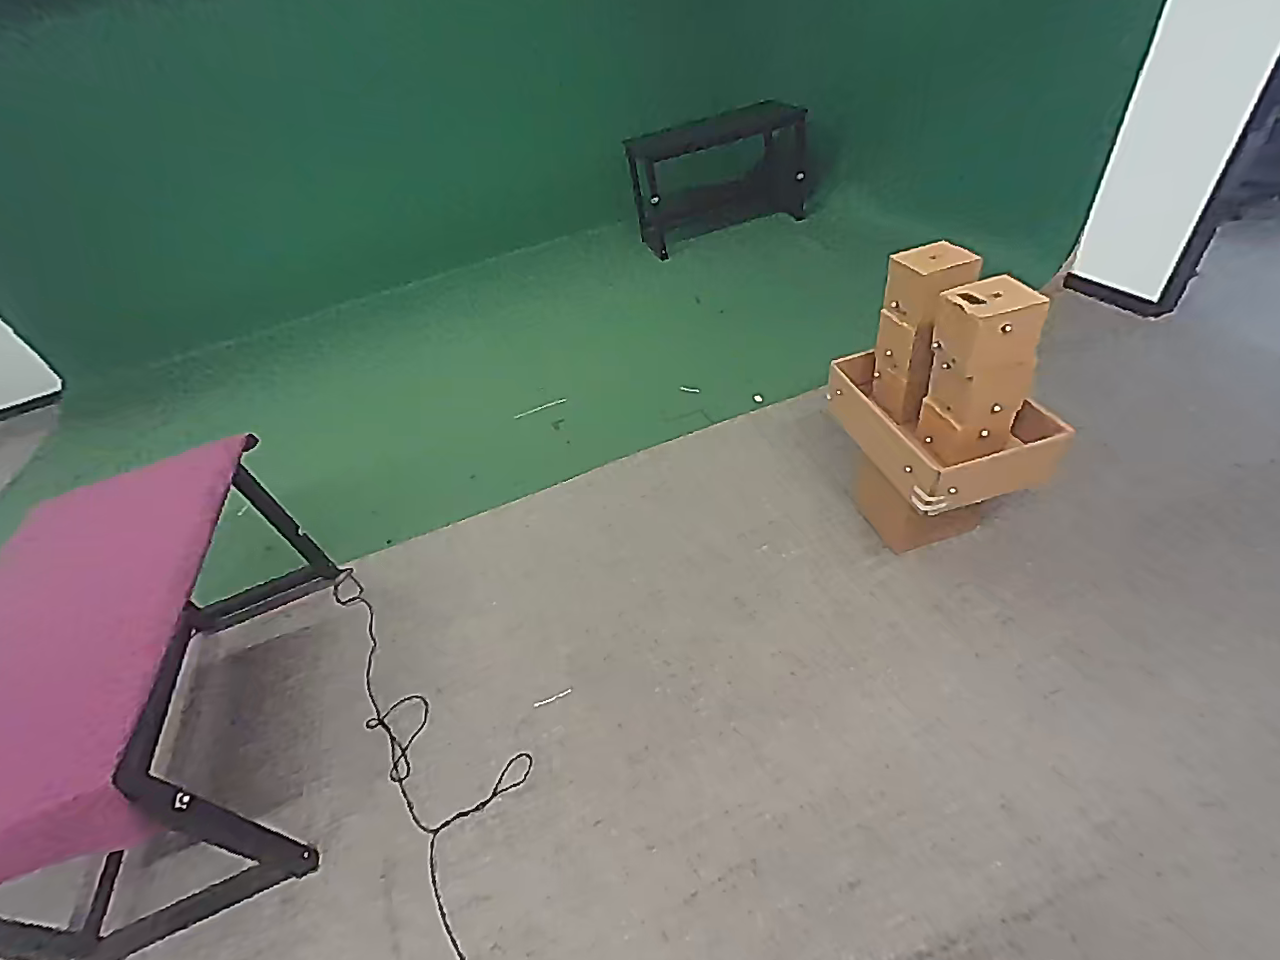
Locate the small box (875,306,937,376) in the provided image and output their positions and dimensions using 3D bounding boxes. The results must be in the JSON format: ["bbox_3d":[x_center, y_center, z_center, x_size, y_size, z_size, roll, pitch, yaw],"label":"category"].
[{"bbox_3d":[0.862,-0.450,1.681,0.179,0.176,0.168,-18,43,-5],"label":"small box"}]

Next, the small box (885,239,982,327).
[{"bbox_3d":[0.843,-0.572,1.574,0.179,0.176,0.168,-17,43,-4],"label":"small box"}]

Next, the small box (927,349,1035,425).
[{"bbox_3d":[0.929,-0.279,1.494,0.179,0.176,0.168,-15,43,-1],"label":"small box"}]

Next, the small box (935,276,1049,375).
[{"bbox_3d":[0.882,-0.391,1.380,0.179,0.176,0.168,-14,43,1],"label":"small box"}]
